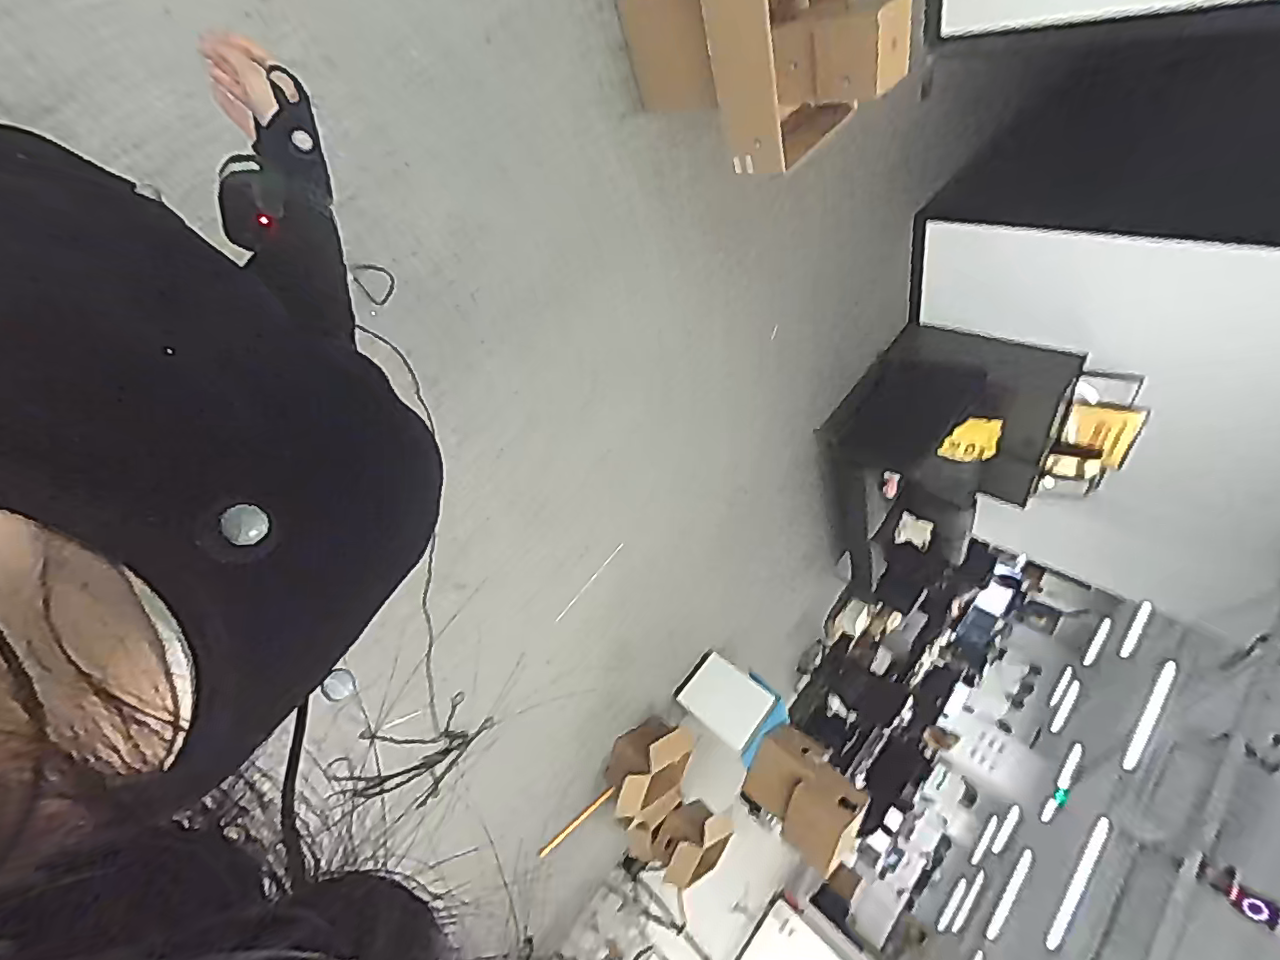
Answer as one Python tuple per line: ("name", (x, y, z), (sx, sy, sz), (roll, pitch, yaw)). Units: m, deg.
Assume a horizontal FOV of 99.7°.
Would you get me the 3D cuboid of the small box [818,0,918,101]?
("small box", (0.560, -1.068, 1.341), (0.168, 0.176, 0.179), (-44, 138, -21))
